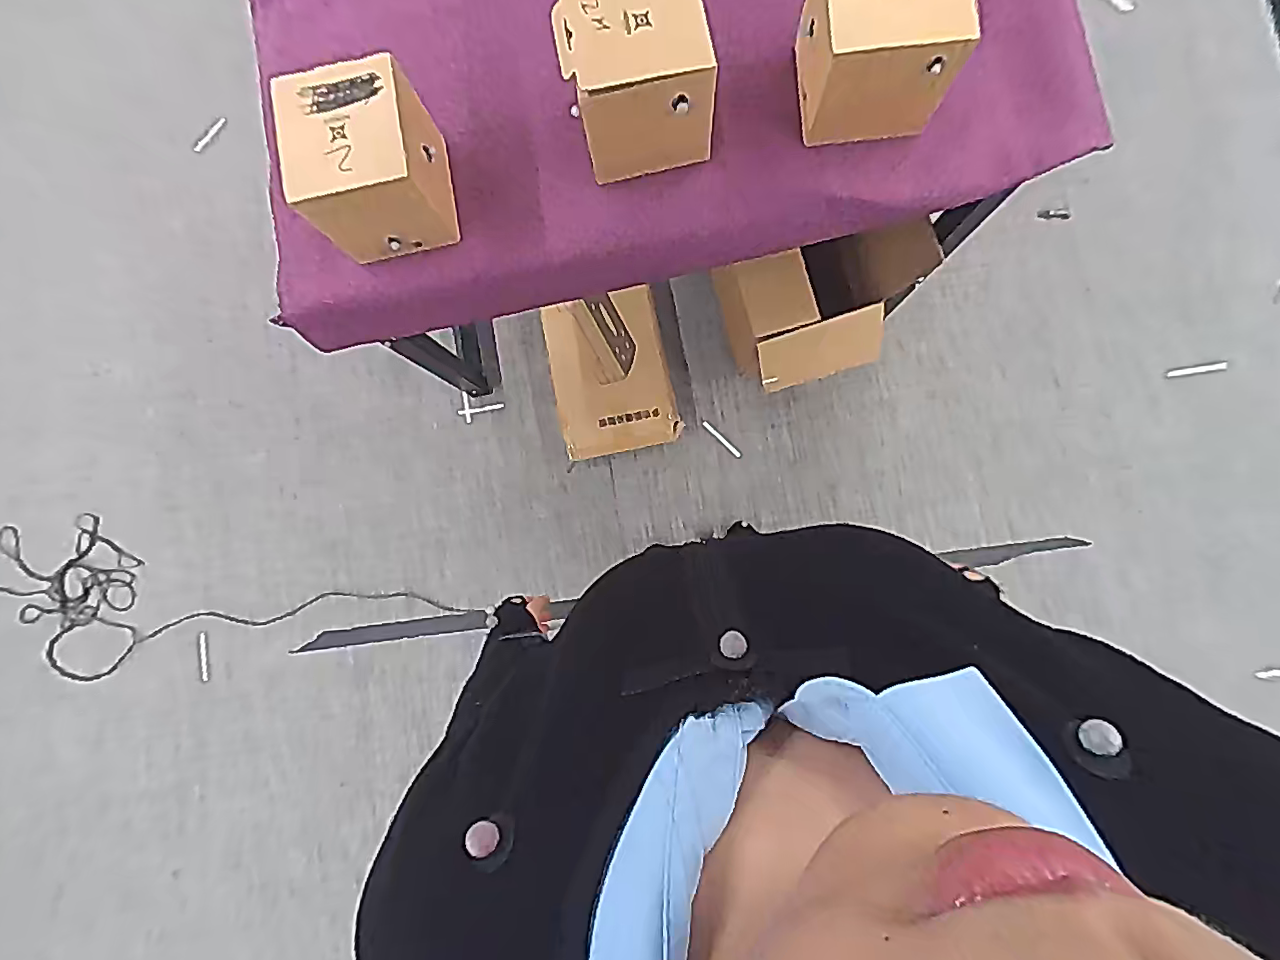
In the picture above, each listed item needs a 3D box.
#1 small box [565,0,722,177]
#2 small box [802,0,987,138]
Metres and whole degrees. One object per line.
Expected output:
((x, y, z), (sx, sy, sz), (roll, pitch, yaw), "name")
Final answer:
((0.005, -0.555, 0.741), (0.179, 0.176, 0.168), (-11, 83, 3), "small box")
((0.321, -0.592, 0.723), (0.179, 0.176, 0.168), (-4, 86, 3), "small box")
